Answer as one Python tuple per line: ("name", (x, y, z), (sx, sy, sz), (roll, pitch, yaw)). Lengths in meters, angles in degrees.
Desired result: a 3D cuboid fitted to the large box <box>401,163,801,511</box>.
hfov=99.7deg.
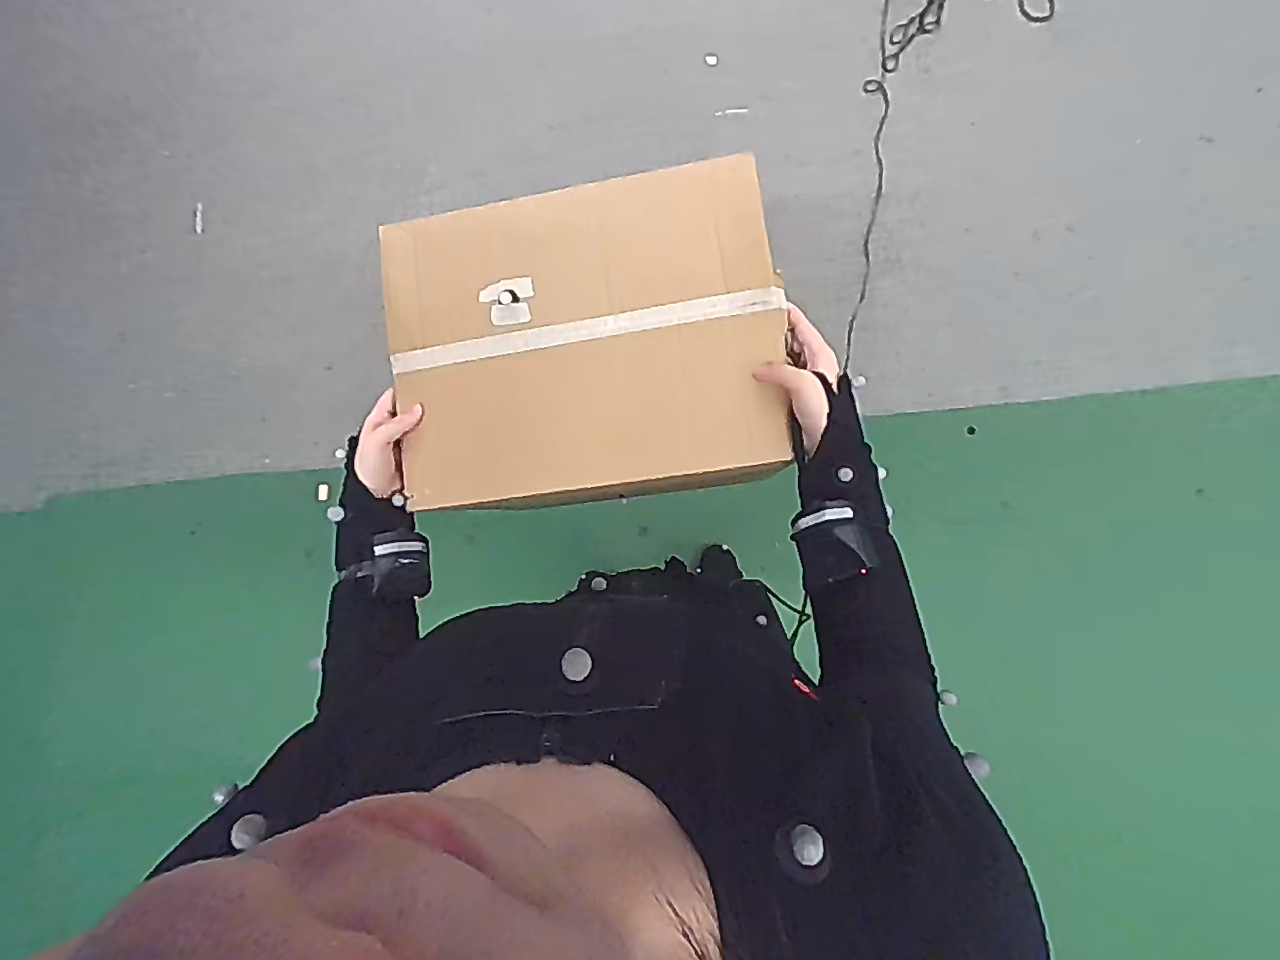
("large box", (-0.031, -0.138, 0.712), (0.408, 0.320, 0.320), (-8, 85, 8))
